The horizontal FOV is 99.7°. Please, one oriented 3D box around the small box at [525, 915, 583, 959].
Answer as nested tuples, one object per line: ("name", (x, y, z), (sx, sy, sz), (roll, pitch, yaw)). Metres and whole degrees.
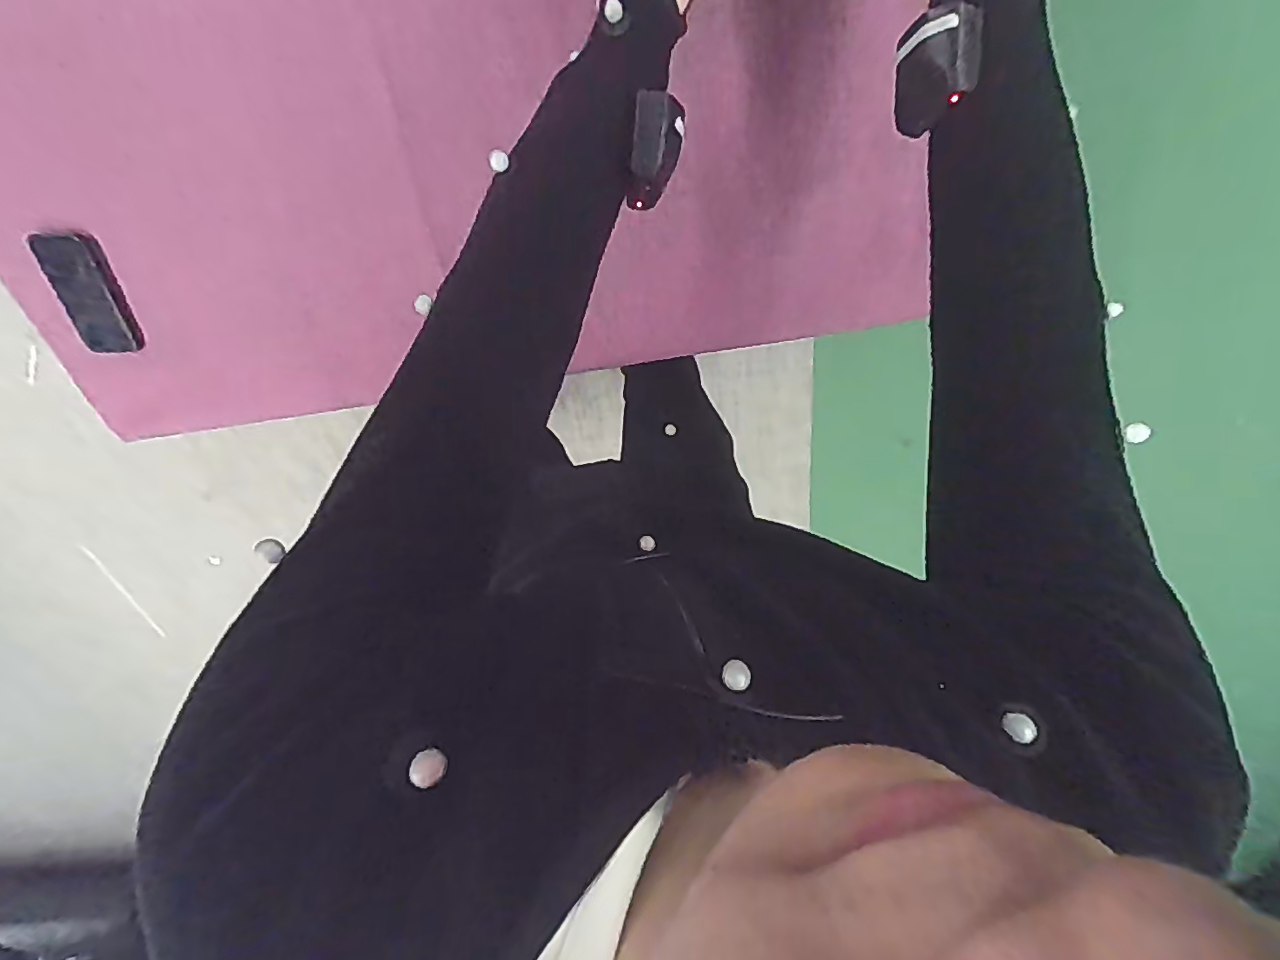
("small box", (-0.299, 1.645, 1.877), (0.168, 0.176, 0.179), (-5, 120, 6))
